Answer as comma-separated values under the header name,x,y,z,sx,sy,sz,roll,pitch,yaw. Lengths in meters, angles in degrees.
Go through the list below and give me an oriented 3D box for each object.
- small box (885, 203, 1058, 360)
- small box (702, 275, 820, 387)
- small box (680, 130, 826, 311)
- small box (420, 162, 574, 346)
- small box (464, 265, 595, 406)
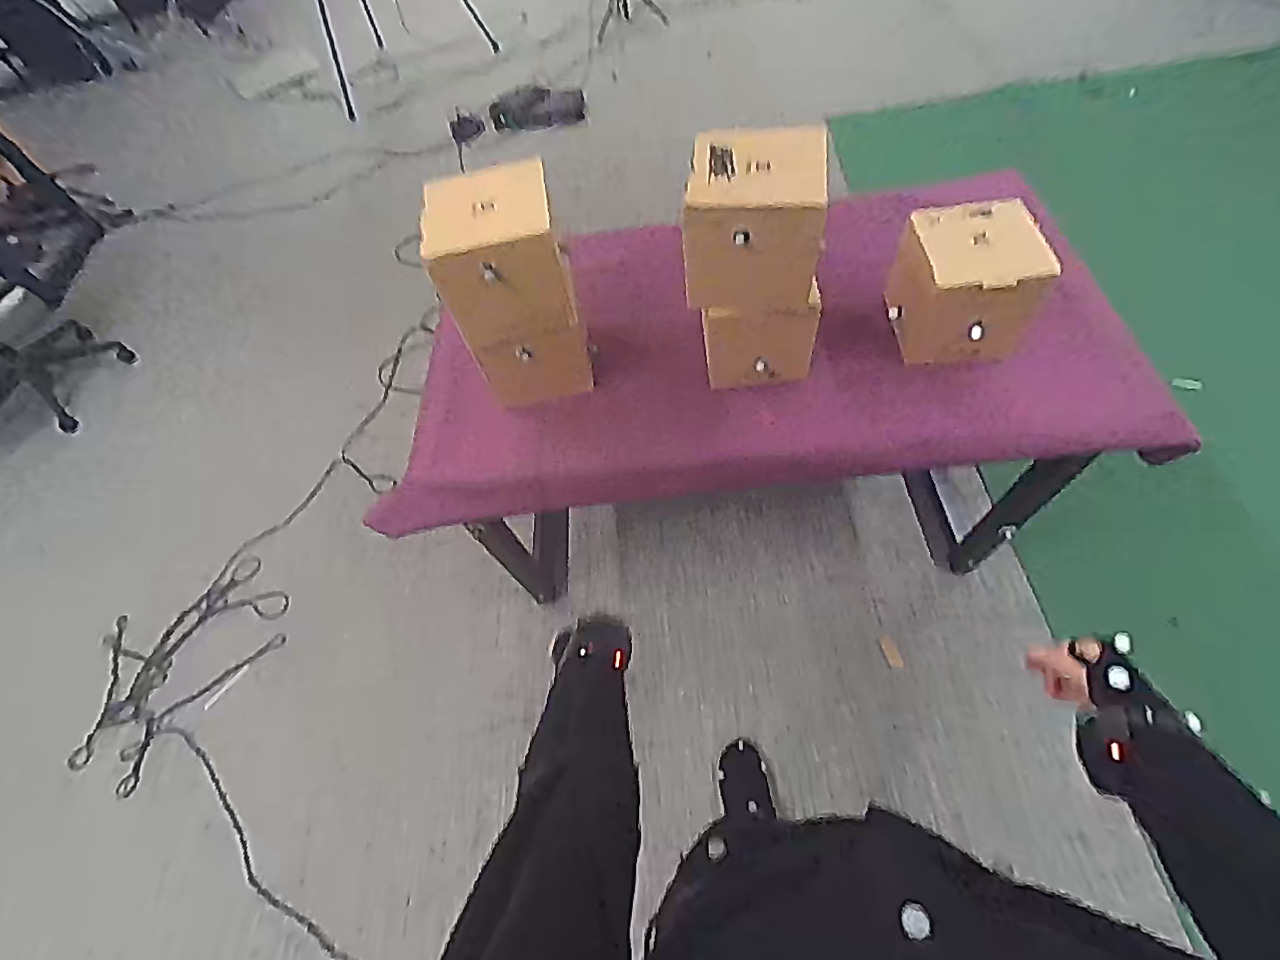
name,x,y,z,sx,sy,sz,roll,pitch,yaw
small box,0.512,-0.307,0.868,0.168,0.176,0.179,-3,60,7
small box,0.189,-0.278,0.900,0.168,0.176,0.179,-5,60,6
small box,0.157,-0.357,0.759,0.179,0.176,0.168,5,61,11
small box,-0.201,-0.326,0.799,0.179,0.176,0.168,-12,60,2
small box,-0.186,-0.249,0.940,0.179,0.176,0.168,-10,60,2
